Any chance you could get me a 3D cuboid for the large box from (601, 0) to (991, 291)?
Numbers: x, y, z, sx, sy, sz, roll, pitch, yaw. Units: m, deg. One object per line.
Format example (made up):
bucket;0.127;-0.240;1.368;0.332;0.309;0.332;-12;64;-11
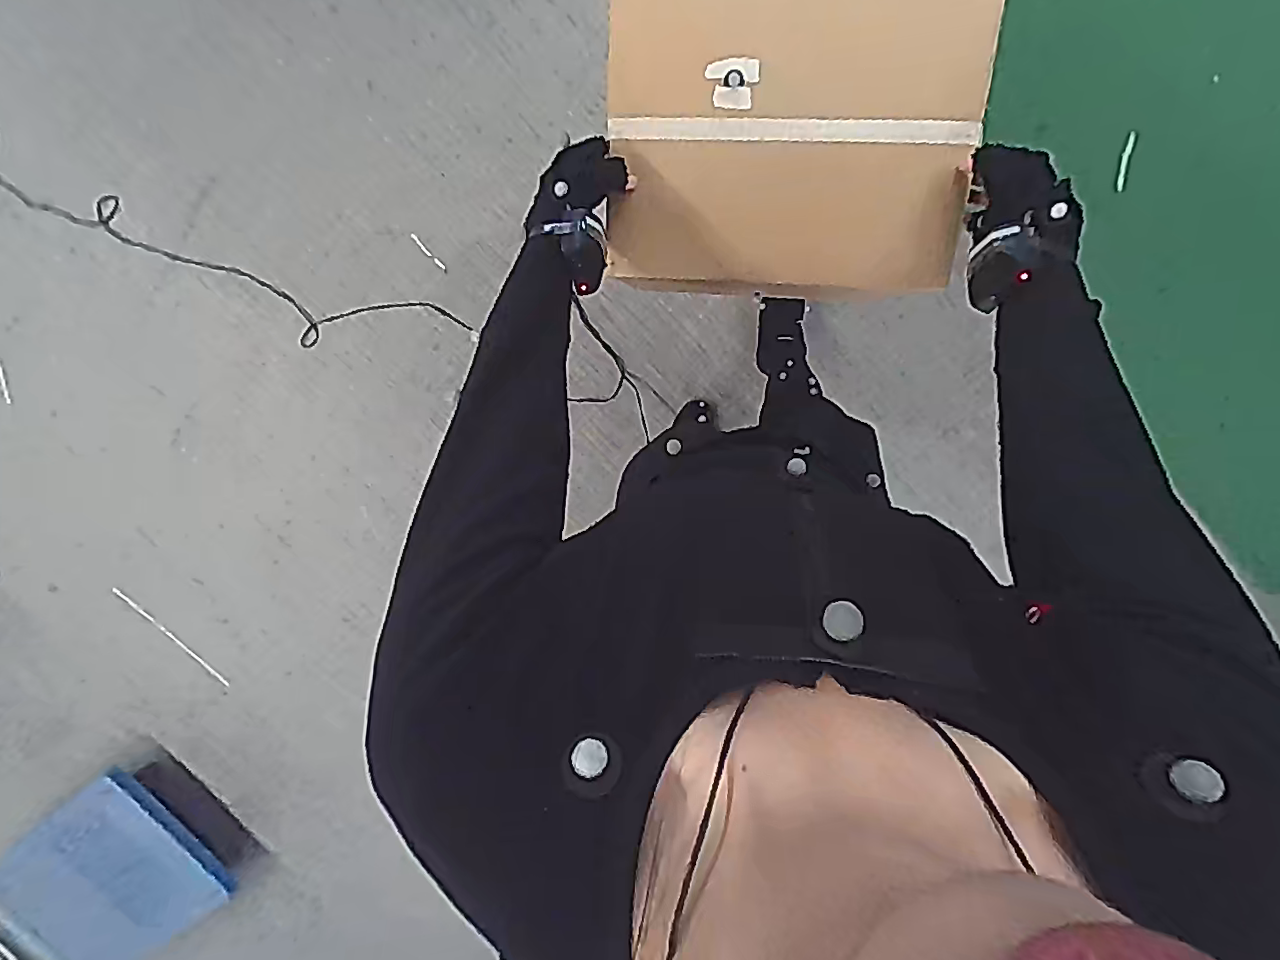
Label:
large box;0.172;-0.427;0.736;0.408;0.320;0.320;4;106;5
